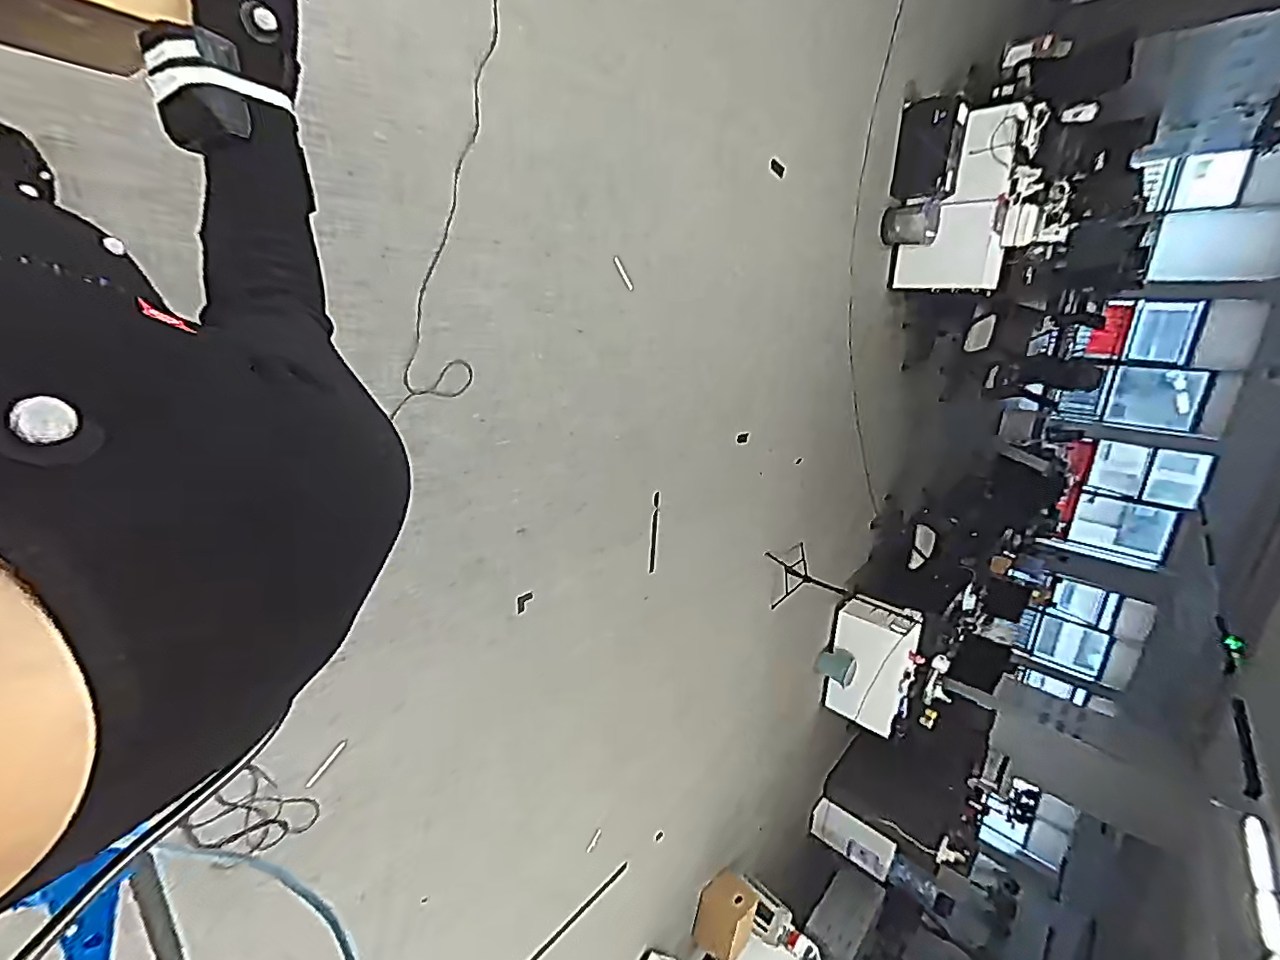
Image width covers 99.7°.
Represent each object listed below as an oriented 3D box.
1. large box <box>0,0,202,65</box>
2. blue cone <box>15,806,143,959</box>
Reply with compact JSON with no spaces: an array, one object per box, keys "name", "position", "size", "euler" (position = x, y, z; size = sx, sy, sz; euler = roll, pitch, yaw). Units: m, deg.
[{"name":"large box","position":[-0.537,-0.479,0.277],"size":[0.408,0.320,0.320],"euler":[-16,122,-47]},{"name":"blue cone","position":[-1.142,0.880,1.112],"size":[0.193,0.380,0.192],"euler":[13,94,-49]}]
